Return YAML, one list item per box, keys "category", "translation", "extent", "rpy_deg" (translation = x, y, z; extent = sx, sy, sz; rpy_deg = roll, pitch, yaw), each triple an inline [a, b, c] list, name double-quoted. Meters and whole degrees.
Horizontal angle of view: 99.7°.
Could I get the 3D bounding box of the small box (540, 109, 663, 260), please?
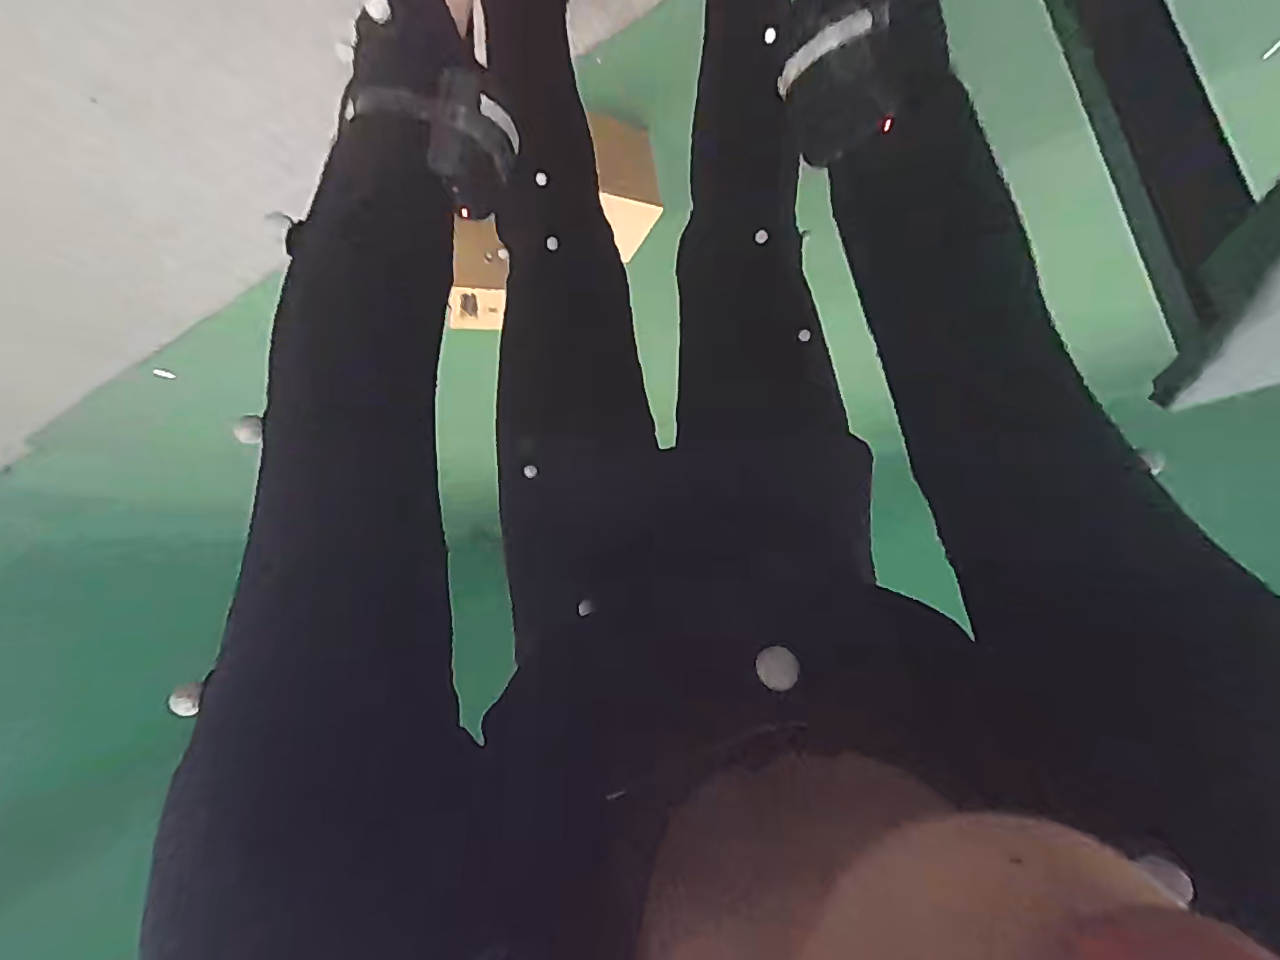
- category: "small box"
  translation: [-0.078, -0.543, 1.007]
  extent: [0.179, 0.176, 0.168]
  rpy_deg: [0, 166, -26]
